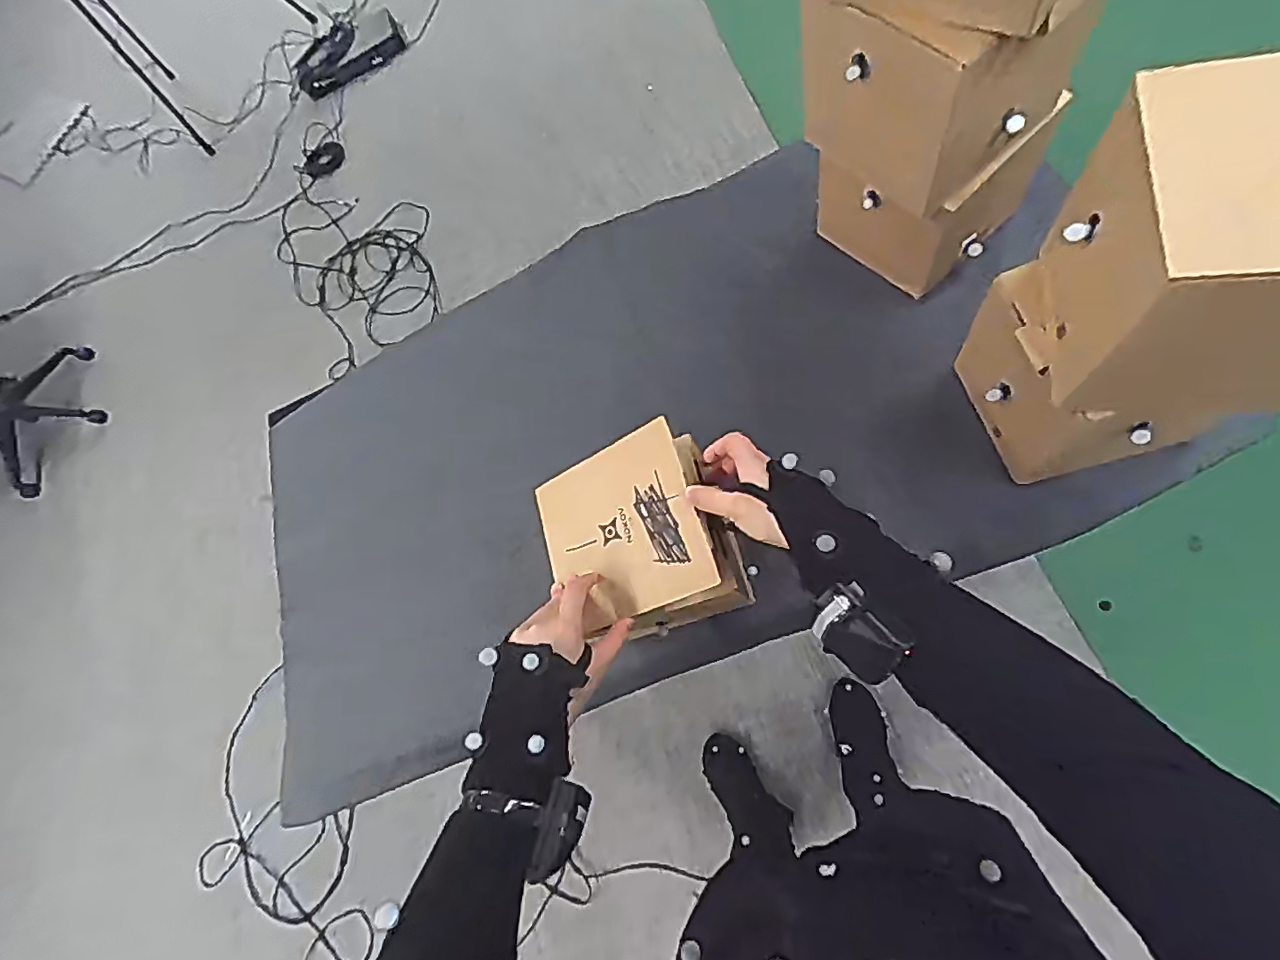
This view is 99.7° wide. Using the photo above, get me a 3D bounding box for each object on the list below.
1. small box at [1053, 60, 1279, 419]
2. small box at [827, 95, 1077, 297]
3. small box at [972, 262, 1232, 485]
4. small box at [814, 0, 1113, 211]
[{"bbox_3d":[0.416,-0.151,0.374,0.179,0.176,0.168,4,72,18],"label":"small box"},{"bbox_3d":[0.340,-0.354,0.638,0.168,0.176,0.179,-43,69,3],"label":"small box"},{"bbox_3d":[0.455,-0.111,0.528,0.179,0.176,0.168,-17,67,12],"label":"small box"},{"bbox_3d":[0.276,-0.389,0.489,0.168,0.176,0.179,-41,67,5],"label":"small box"}]
